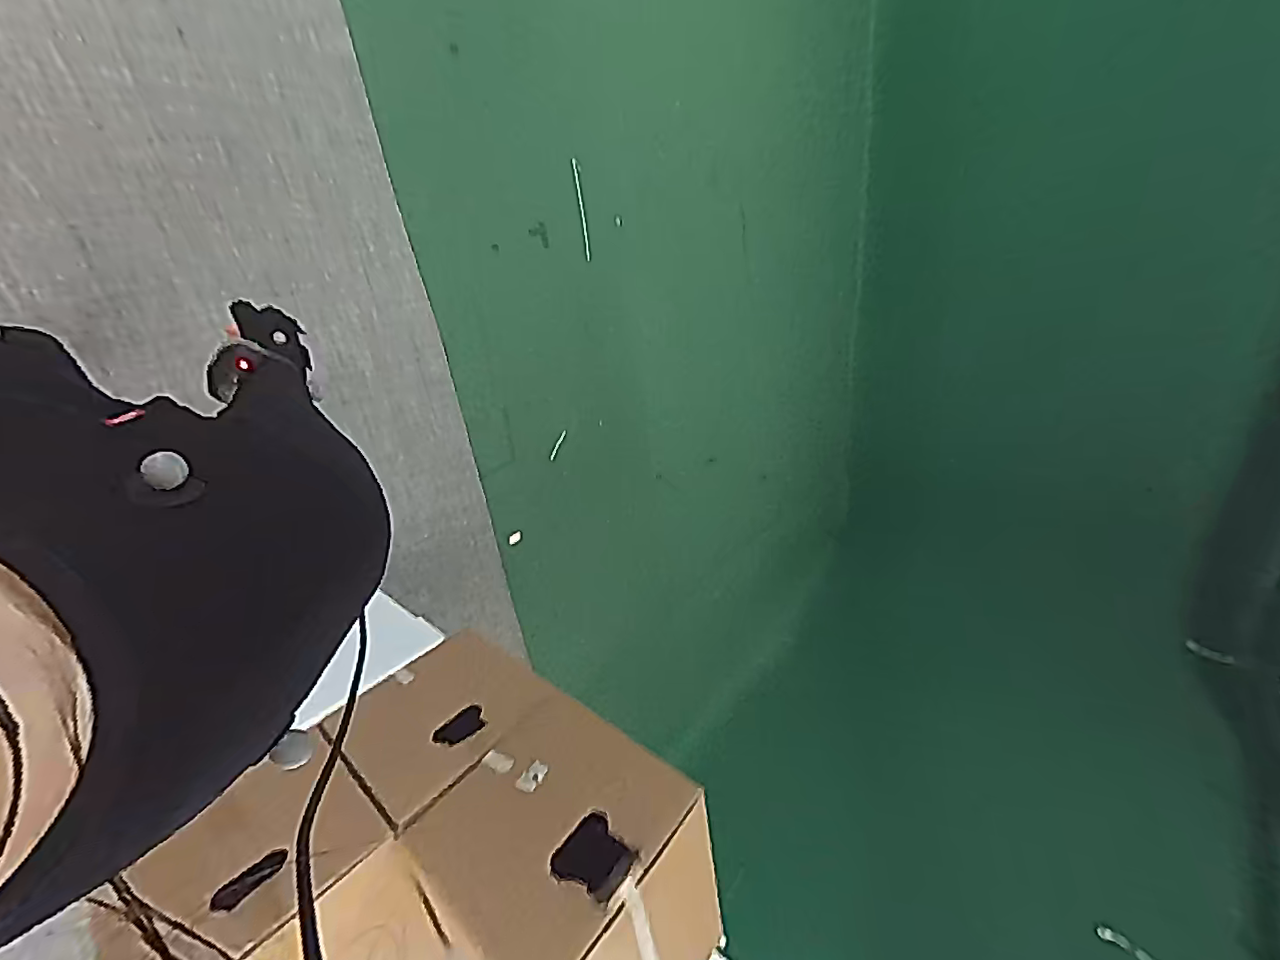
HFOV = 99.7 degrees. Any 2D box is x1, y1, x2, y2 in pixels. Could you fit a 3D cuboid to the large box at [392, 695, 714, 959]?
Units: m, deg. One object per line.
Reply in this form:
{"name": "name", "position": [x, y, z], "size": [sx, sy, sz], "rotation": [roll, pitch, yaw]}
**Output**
{"name": "large box", "position": [-0.108, 0.628, 0.830], "size": [0.320, 0.320, 0.408], "rotation": [-33, 127, -39]}
